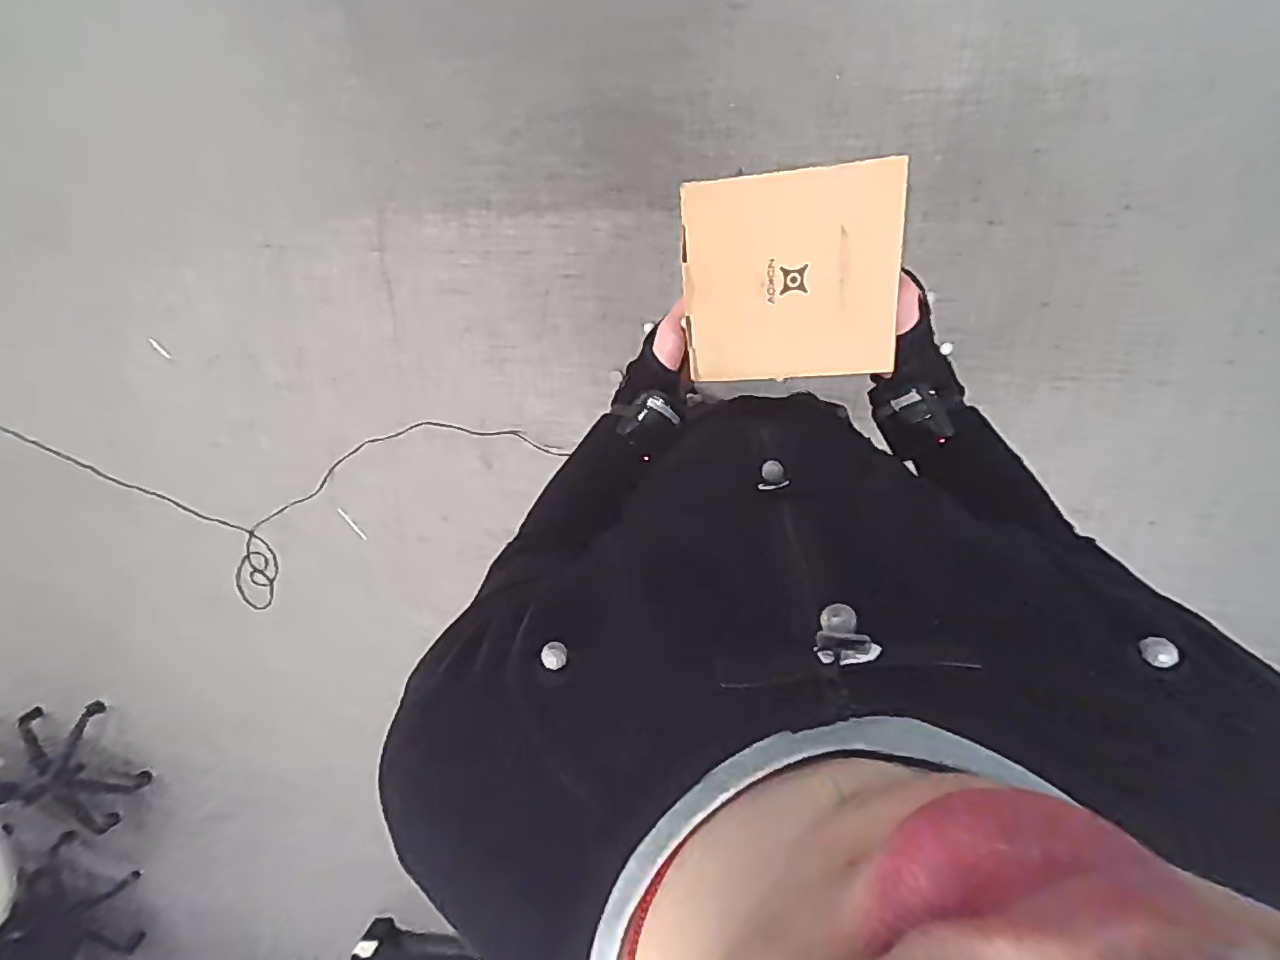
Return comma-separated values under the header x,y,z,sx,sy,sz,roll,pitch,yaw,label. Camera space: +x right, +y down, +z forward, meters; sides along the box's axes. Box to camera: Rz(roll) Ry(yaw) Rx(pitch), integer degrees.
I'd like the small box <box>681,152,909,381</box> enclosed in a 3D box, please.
x,y,z,sx,sy,sz,roll,pitch,yaw,label
0.142,-0.199,0.525,0.179,0.176,0.168,-3,113,12,small box
